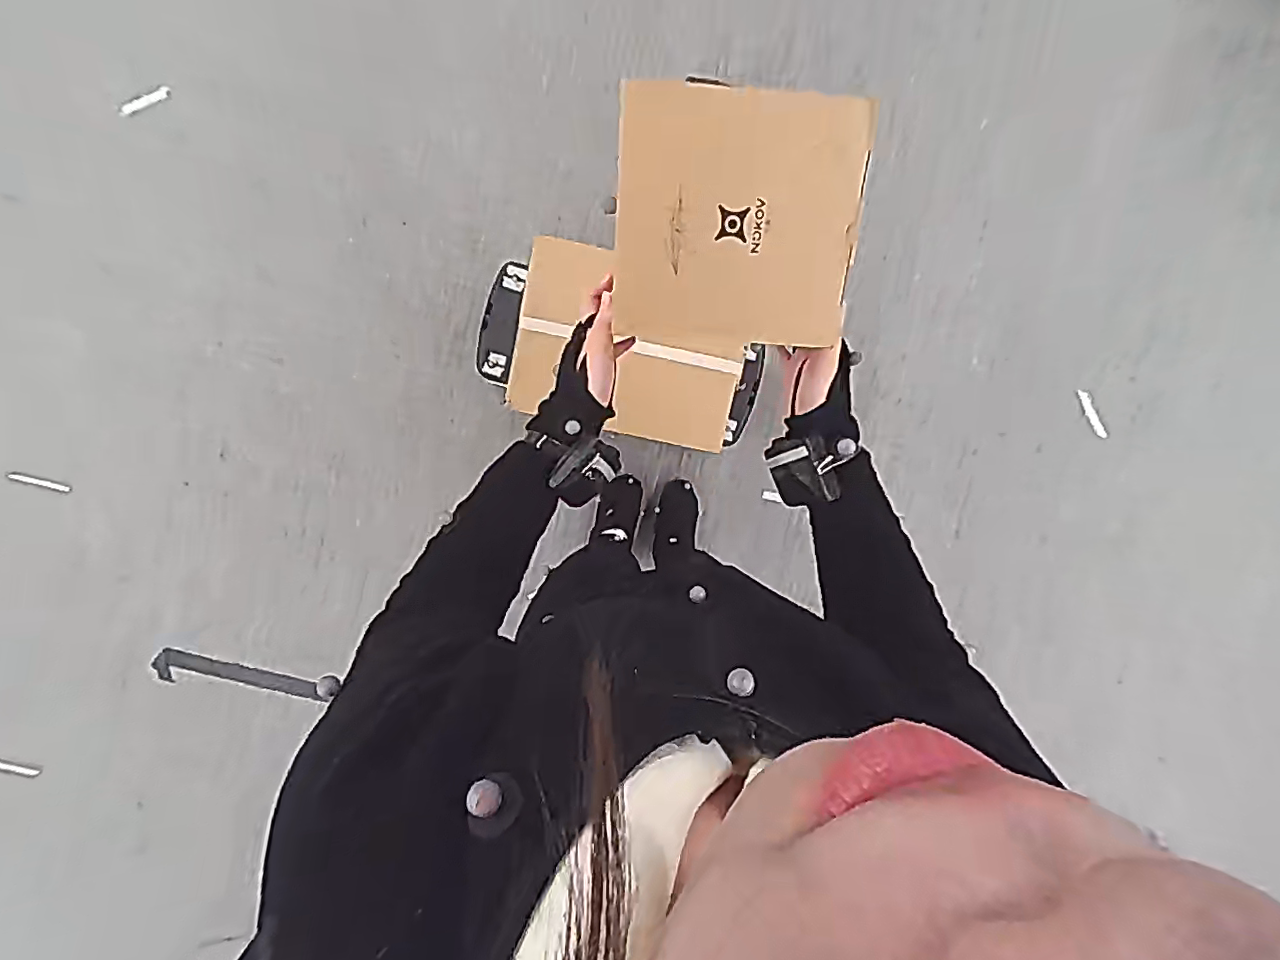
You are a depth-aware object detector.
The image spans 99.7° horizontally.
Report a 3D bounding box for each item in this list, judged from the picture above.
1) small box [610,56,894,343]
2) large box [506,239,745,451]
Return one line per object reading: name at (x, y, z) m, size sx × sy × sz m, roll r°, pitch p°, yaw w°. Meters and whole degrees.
small box at (0.068, -0.212, 0.442) m, size 0.179 × 0.176 × 0.168 m, roll 3°, pitch 112°, yaw -2°
large box at (-0.019, -0.251, 1.109) m, size 0.408 × 0.320 × 0.320 m, roll 12°, pitch 94°, yaw -2°
